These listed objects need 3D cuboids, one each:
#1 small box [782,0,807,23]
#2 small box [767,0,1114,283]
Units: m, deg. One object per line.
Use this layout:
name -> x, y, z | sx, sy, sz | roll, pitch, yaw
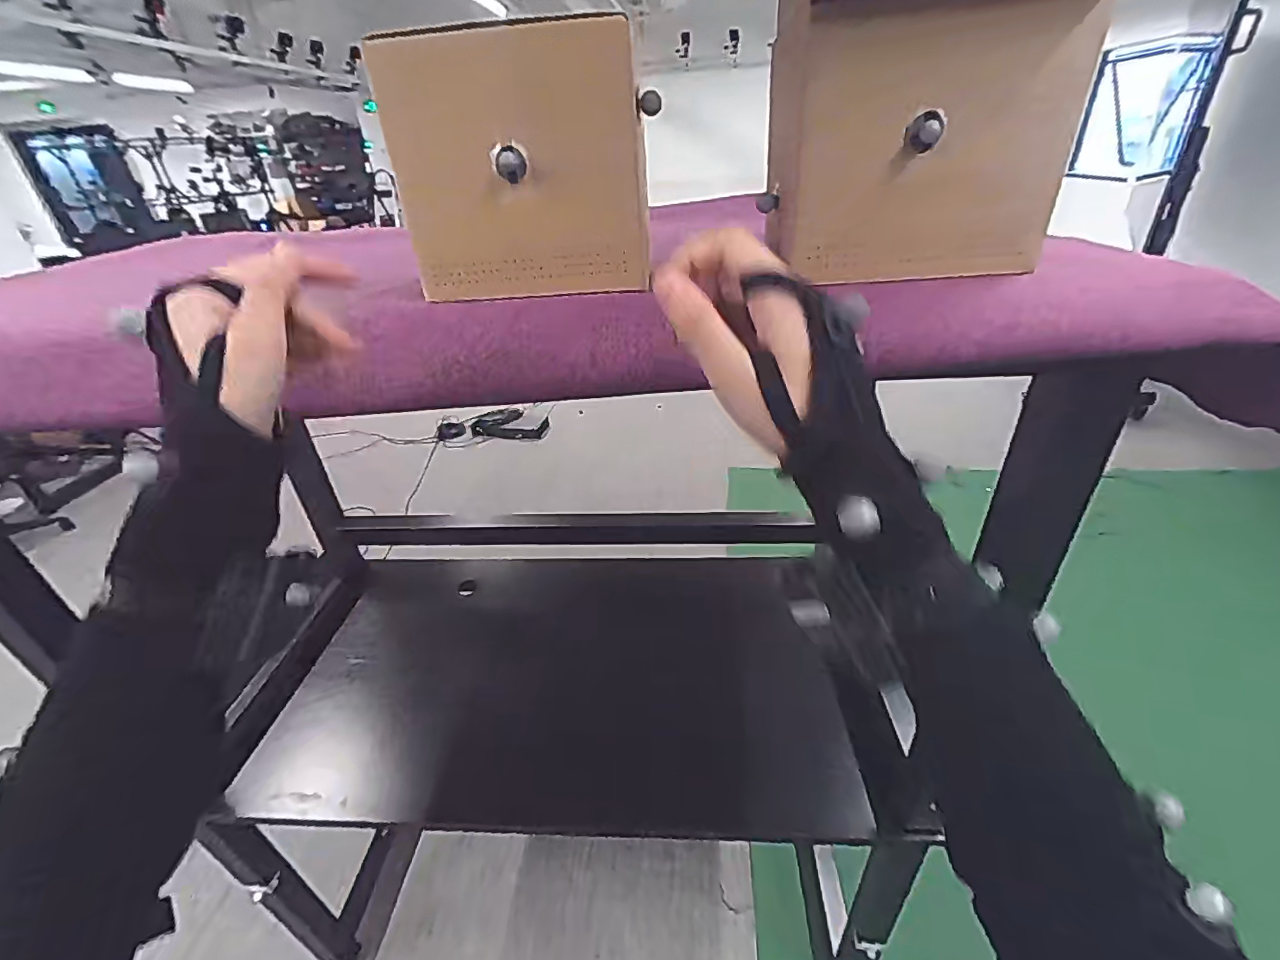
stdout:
small box -> 0.187, -0.388, 0.316 | 0.179, 0.176, 0.168 | -1, 31, 6
small box -> 0.198, -0.260, 0.419 | 0.179, 0.176, 0.168 | -2, 31, 7
